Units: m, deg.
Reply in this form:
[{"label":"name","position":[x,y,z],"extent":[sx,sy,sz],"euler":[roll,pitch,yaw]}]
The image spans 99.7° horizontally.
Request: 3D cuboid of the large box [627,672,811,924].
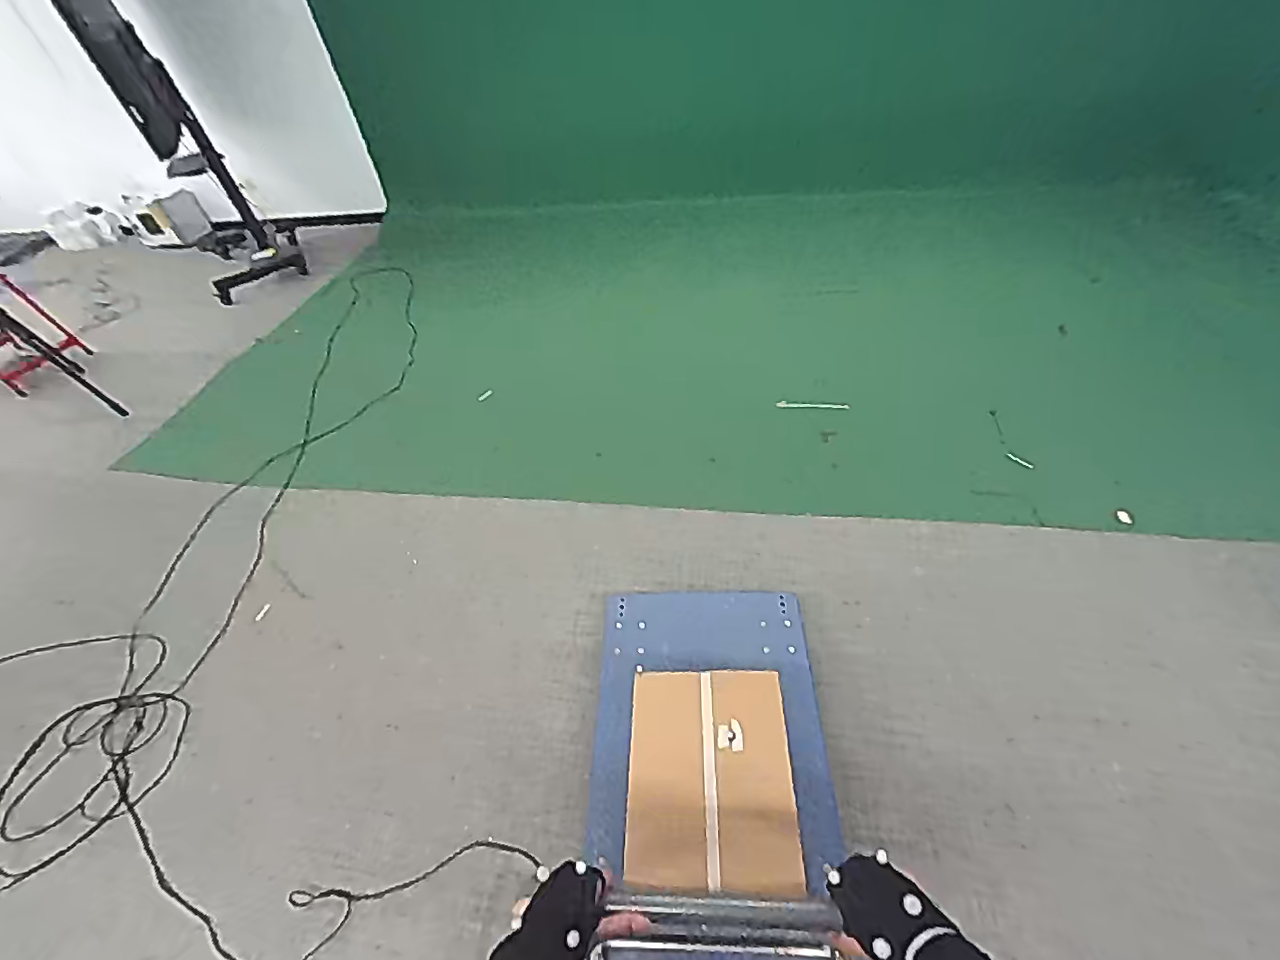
[{"label":"large box","position":[0.155,0.670,1.144],"extent":[0.320,0.320,0.408],"euler":[-3,45,6]}]
